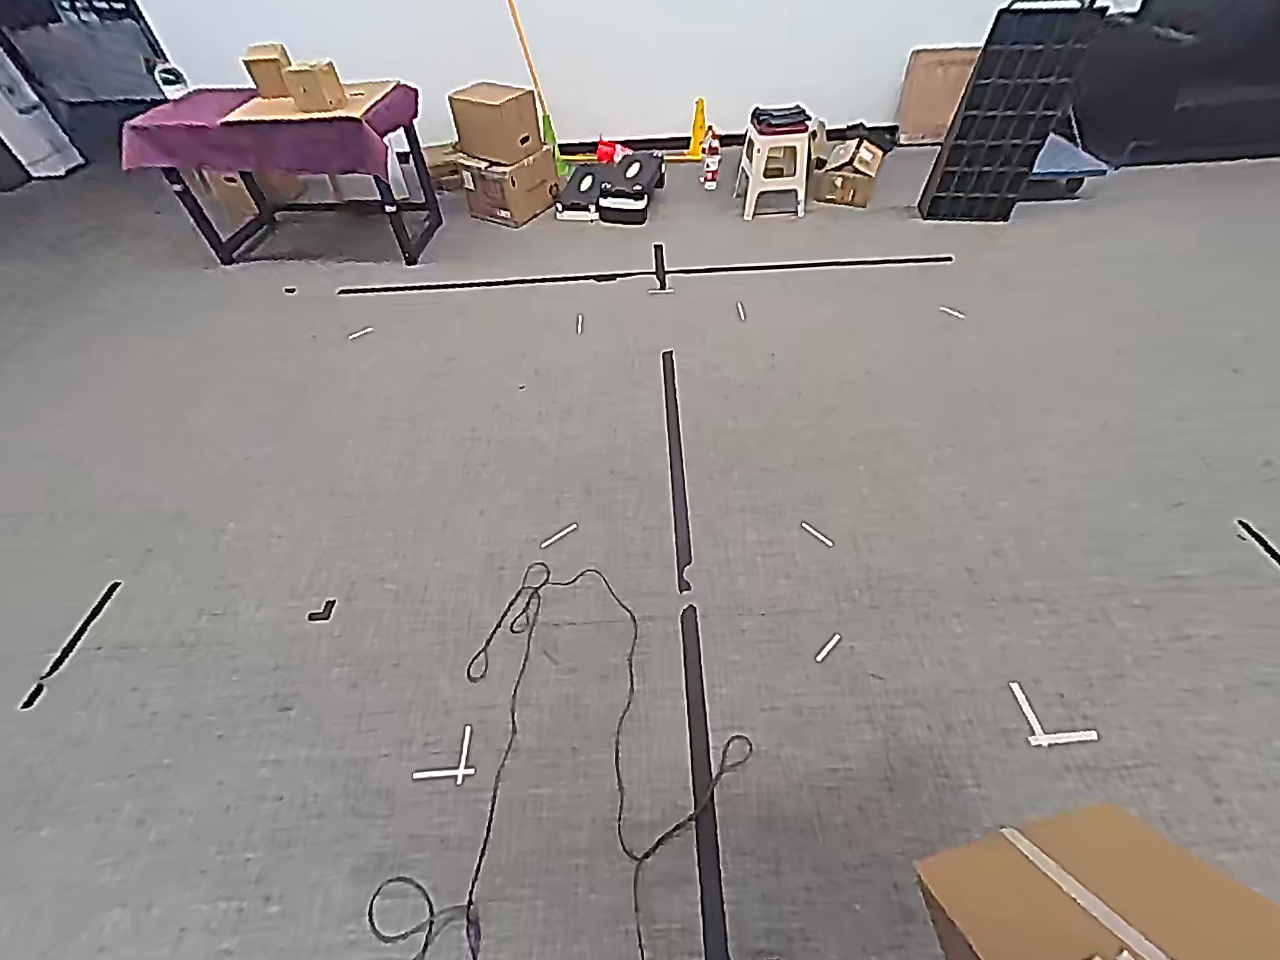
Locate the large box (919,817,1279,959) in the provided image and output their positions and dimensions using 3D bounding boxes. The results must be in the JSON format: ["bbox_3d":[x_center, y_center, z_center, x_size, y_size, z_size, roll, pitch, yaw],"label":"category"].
[{"bbox_3d":[0.606,0.679,0.613,0.320,0.408,0.320,-18,84,0],"label":"large box"}]
